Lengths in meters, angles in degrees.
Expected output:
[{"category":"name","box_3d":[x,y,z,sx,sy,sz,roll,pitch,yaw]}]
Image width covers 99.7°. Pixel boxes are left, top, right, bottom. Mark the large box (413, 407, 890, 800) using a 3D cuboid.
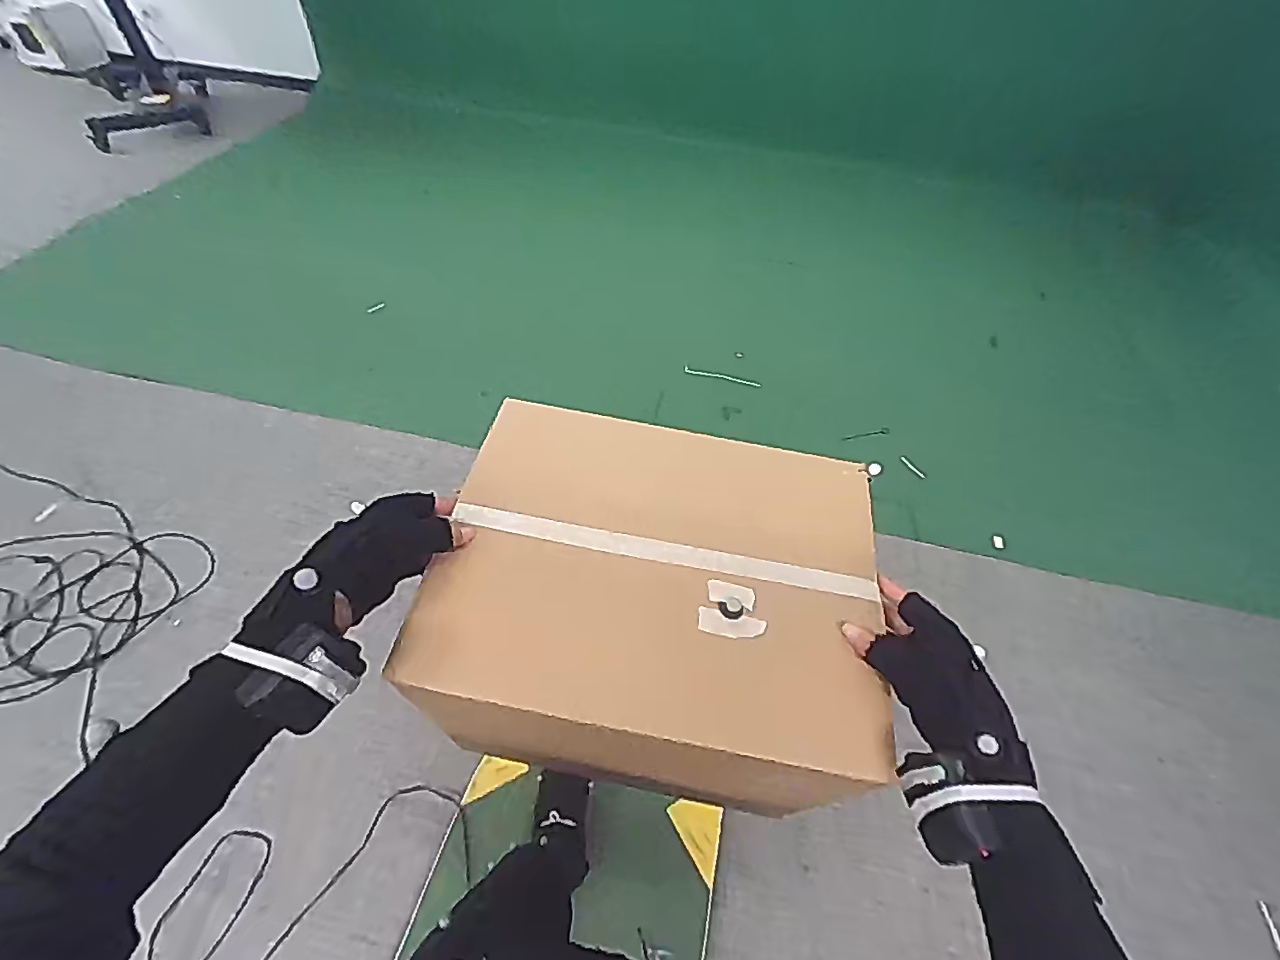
[{"category":"large box","box_3d":[0.014,0.156,0.643,0.408,0.320,0.320,11,55,1]}]
